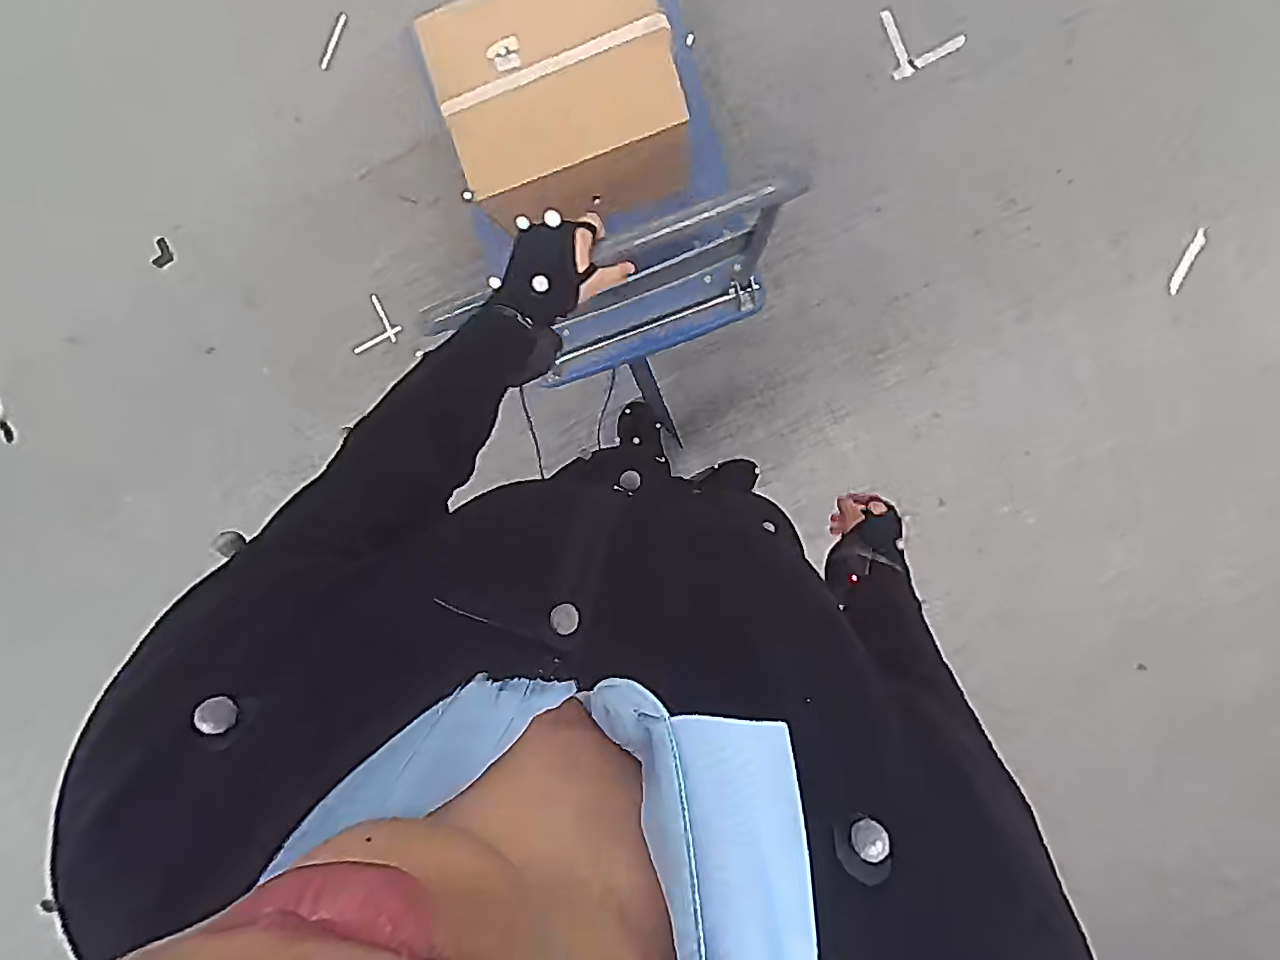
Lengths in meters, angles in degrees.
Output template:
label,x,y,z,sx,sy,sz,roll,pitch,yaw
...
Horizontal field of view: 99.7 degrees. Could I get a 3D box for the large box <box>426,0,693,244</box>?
label,x,y,z,sx,sy,sz,roll,pitch,yaw
large box,-0.129,-0.727,1.080,0.408,0.320,0.320,-17,96,8
